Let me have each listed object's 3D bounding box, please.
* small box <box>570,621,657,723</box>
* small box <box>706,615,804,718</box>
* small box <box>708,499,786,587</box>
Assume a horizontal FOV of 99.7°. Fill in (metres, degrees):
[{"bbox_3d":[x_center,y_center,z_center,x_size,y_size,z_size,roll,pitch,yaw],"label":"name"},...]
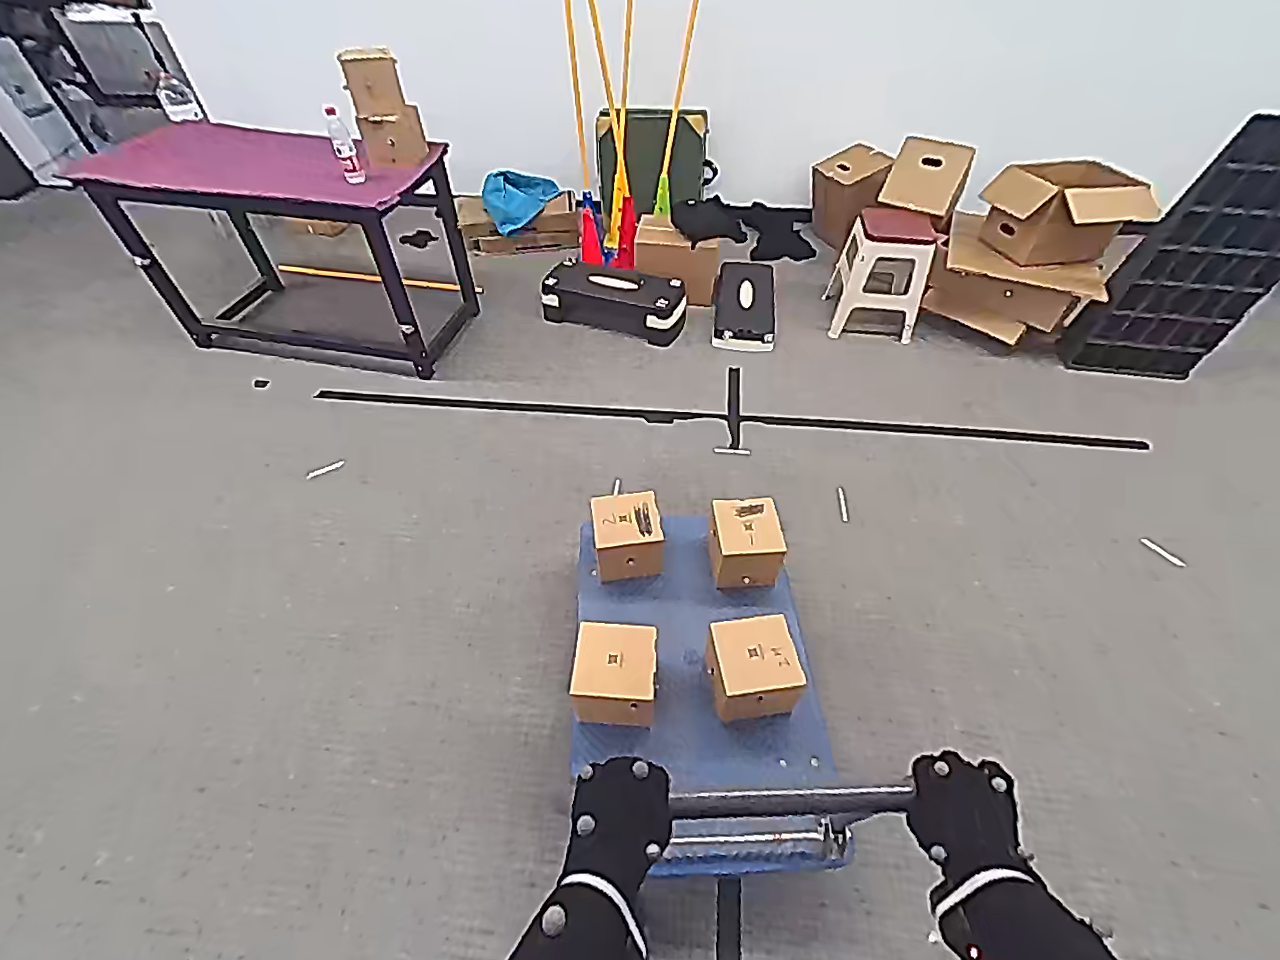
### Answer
[{"bbox_3d":[-0.054,0.440,1.233,0.179,0.176,0.168,4,48,2],"label":"small box"},{"bbox_3d":[0.252,0.430,1.240,0.179,0.176,0.168,-6,49,-4],"label":"small box"},{"bbox_3d":[0.281,0.172,1.467,0.168,0.176,0.179,-3,50,-2],"label":"small box"}]
